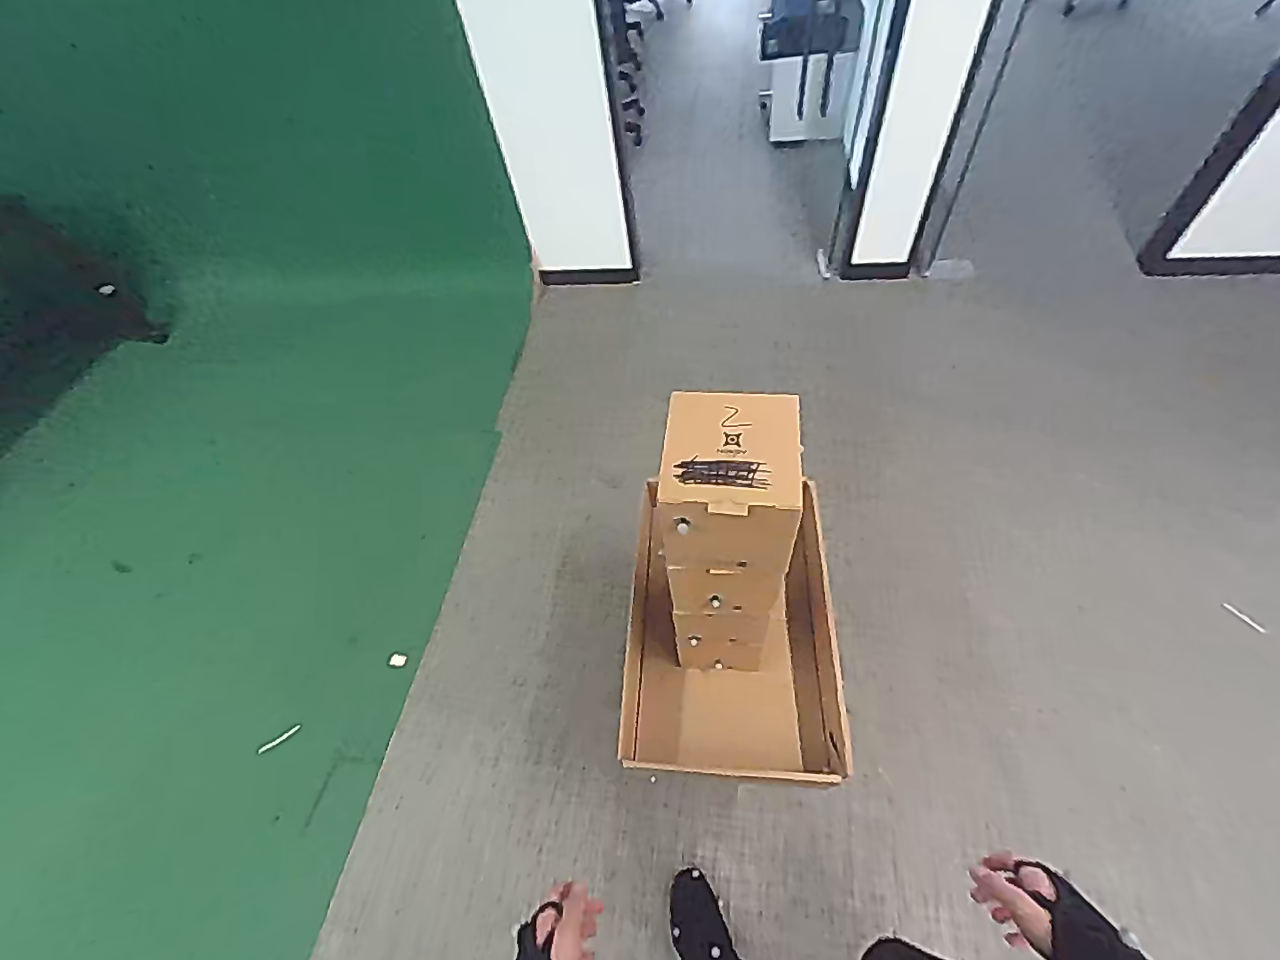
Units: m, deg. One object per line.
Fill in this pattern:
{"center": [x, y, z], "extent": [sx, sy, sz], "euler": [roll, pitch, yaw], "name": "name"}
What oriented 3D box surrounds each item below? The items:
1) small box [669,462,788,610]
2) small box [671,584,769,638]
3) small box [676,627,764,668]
{"center": [0.132, 0.089, 0.853], "extent": [0.168, 0.176, 0.179], "euler": [-1, 56, 6], "name": "small box"}
{"center": [0.146, 0.179, 0.988], "extent": [0.168, 0.176, 0.179], "euler": [-1, 54, 6], "name": "small box"}
{"center": [0.165, 0.273, 1.120], "extent": [0.168, 0.176, 0.179], "euler": [0, 55, 8], "name": "small box"}
